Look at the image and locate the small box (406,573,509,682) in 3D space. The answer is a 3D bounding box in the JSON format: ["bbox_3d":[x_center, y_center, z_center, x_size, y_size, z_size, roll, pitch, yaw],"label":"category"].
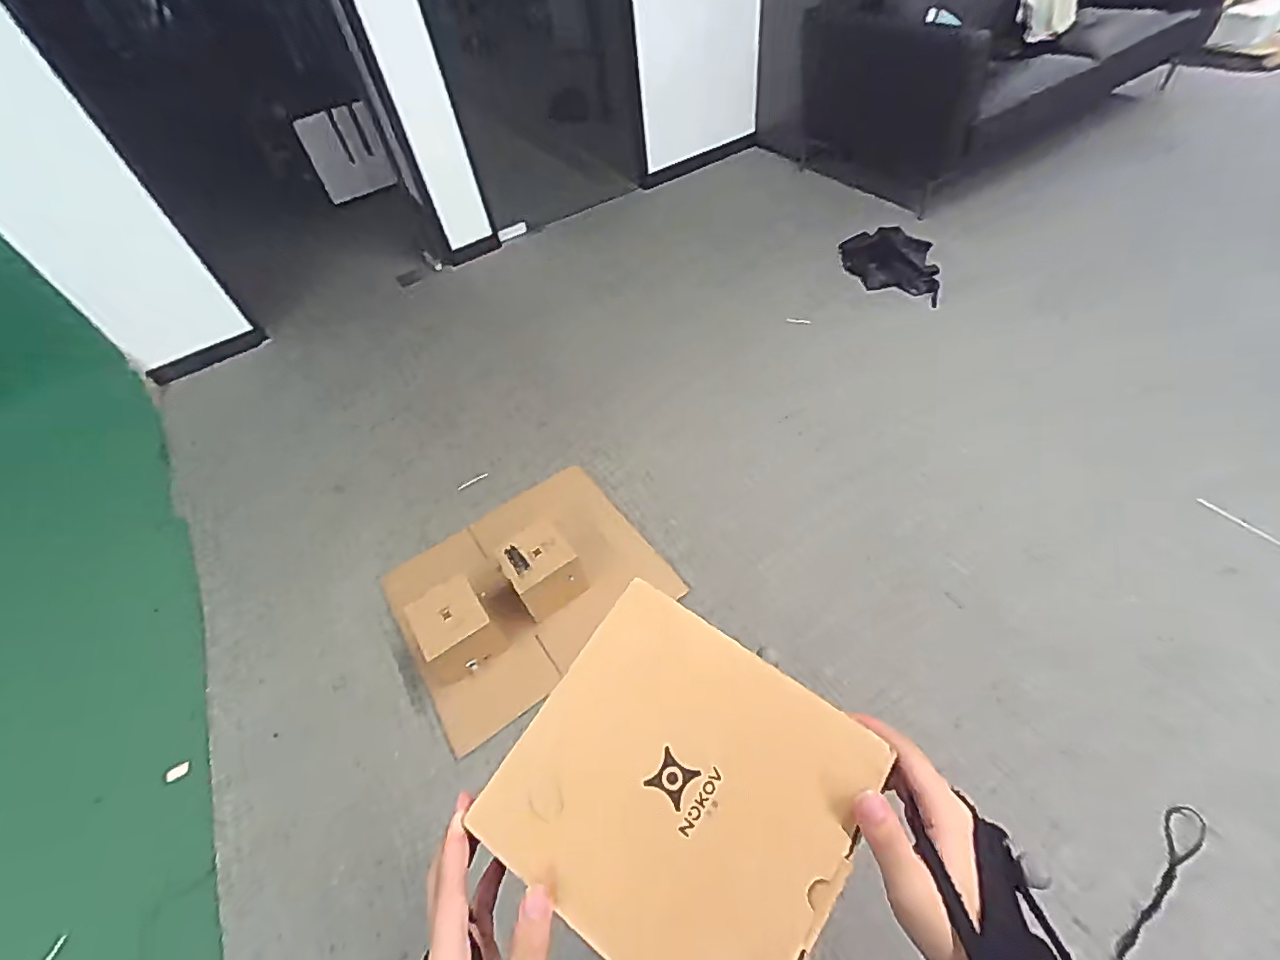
[{"bbox_3d":[-0.460,0.377,1.375,0.168,0.176,0.179,-32,55,-17],"label":"small box"}]
